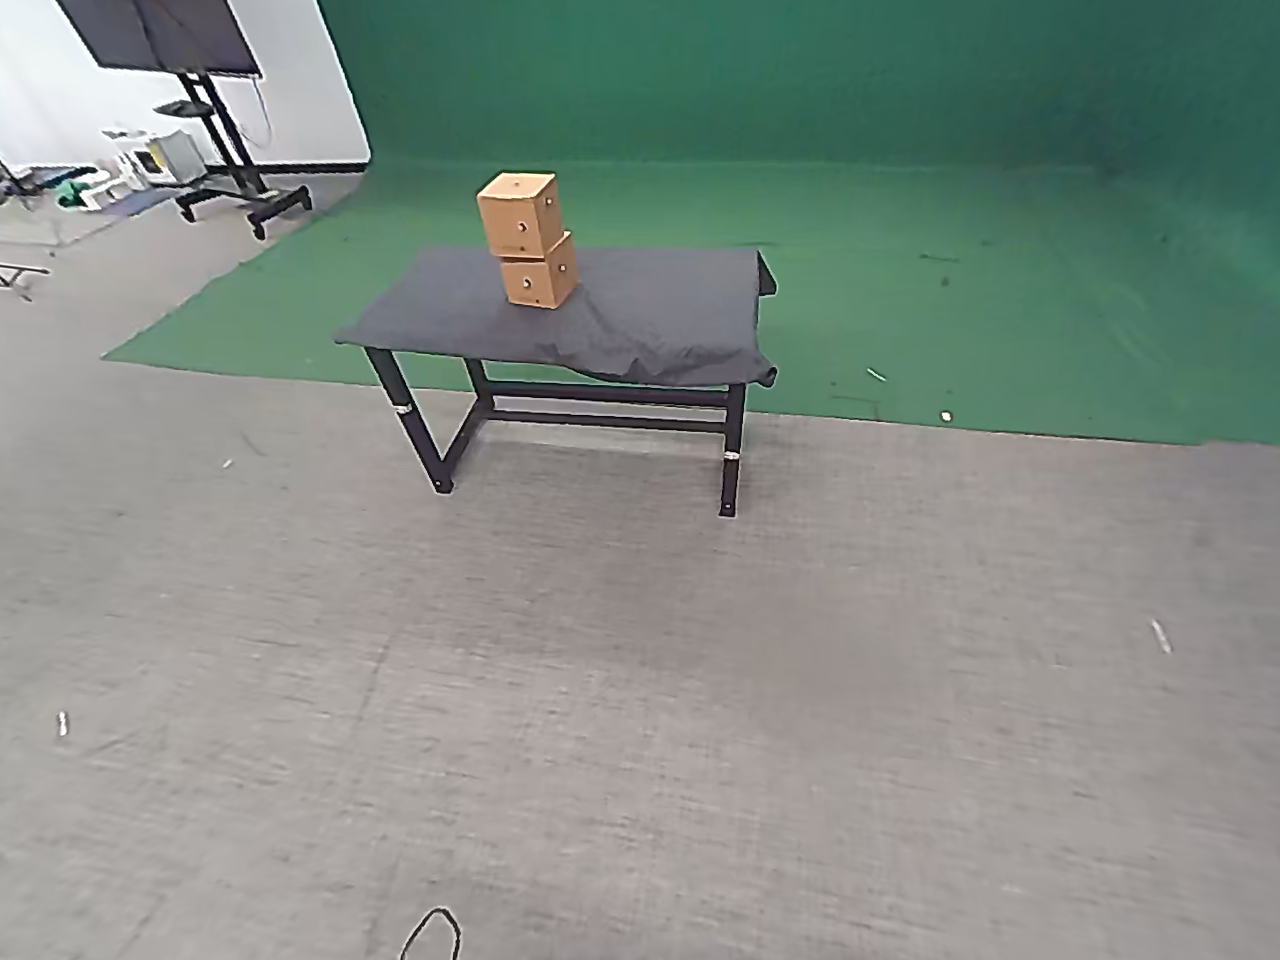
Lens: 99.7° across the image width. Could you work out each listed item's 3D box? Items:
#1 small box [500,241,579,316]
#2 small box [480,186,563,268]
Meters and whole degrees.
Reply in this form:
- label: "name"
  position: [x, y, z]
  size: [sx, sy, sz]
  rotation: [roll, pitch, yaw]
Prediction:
- label: "small box"
  position: [-0.304, -0.630, 1.686]
  size: [0.168, 0.176, 0.179]
  rotation: [12, 49, 16]
- label: "small box"
  position: [-0.330, -0.728, 1.556]
  size: [0.168, 0.176, 0.179]
  rotation: [8, 47, 11]
